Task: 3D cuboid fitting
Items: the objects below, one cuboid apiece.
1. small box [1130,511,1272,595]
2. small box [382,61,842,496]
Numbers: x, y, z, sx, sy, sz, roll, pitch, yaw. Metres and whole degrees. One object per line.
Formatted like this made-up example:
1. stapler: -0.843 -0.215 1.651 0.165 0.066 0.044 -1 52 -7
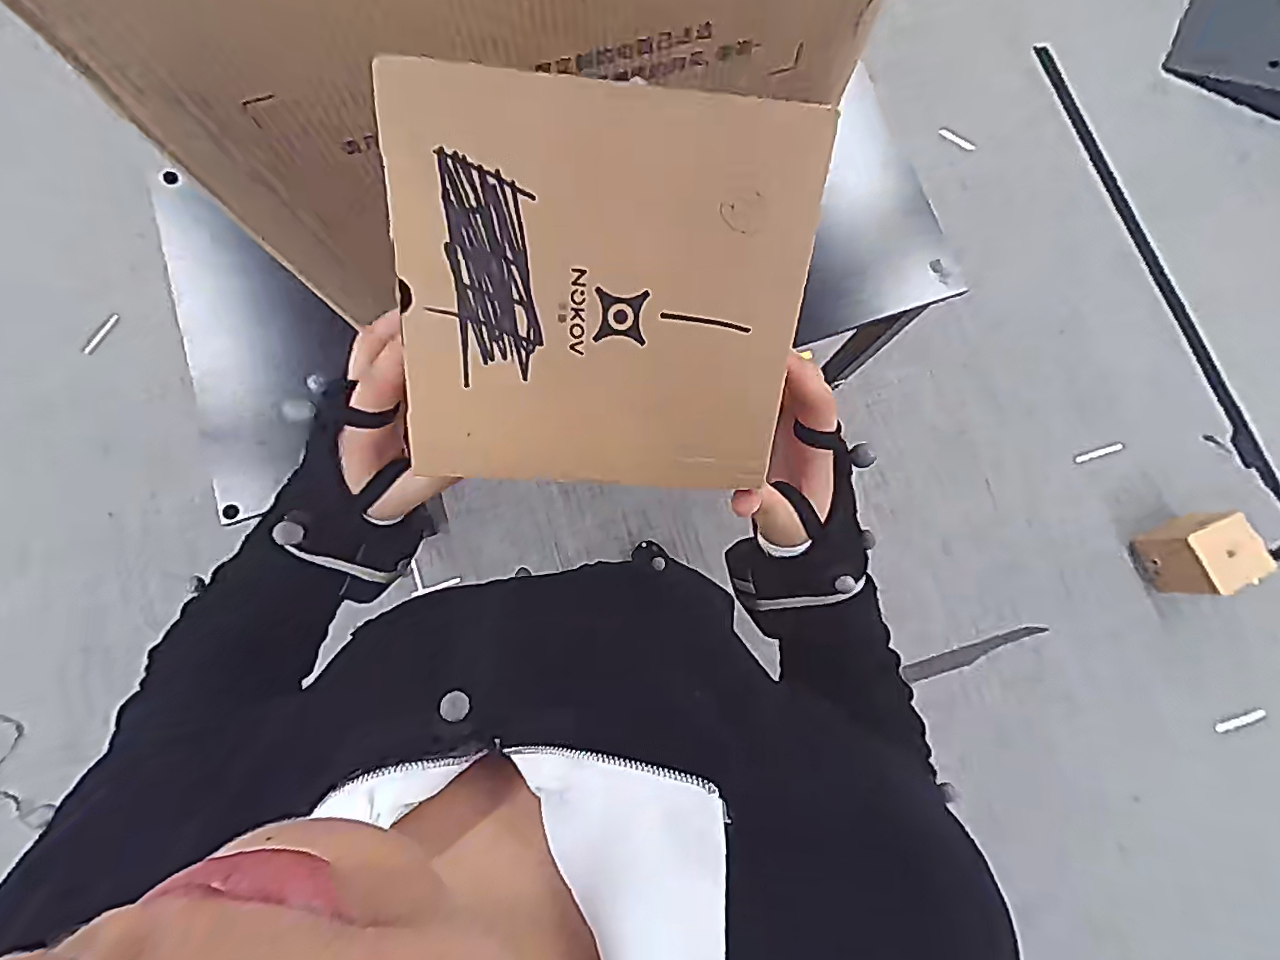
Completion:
1. small box: 1.510 0.198 1.467 0.179 0.176 0.168 -25 81 -4
2. small box: -0.017 -0.105 0.306 0.179 0.176 0.168 4 115 -4
